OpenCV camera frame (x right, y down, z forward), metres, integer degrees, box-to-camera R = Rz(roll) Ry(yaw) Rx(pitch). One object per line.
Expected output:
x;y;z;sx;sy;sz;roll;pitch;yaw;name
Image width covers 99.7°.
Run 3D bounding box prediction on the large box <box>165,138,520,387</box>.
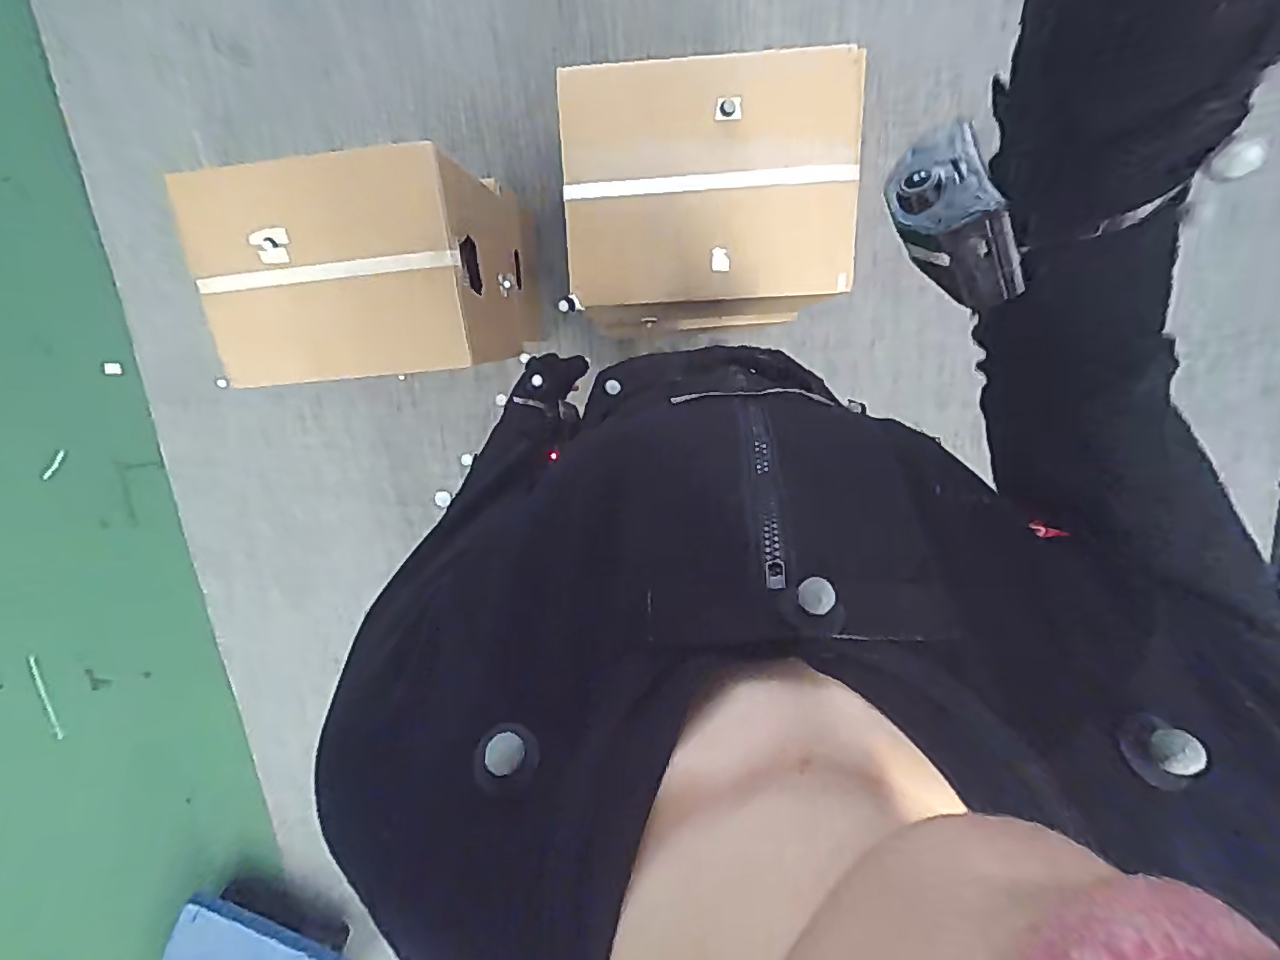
-0.466;-0.354;0.946;0.408;0.320;0.320;-4;106;5;large box
